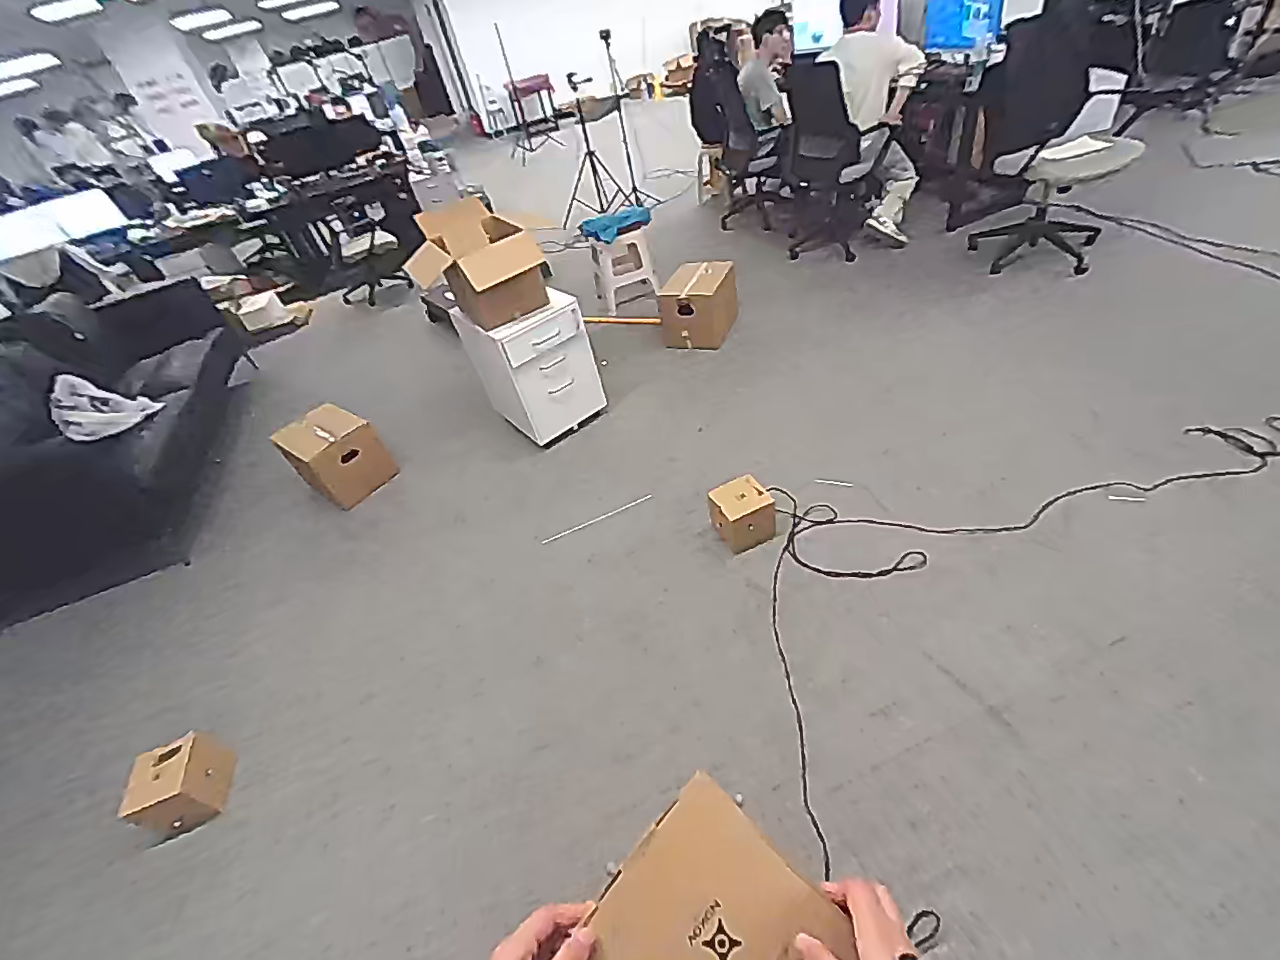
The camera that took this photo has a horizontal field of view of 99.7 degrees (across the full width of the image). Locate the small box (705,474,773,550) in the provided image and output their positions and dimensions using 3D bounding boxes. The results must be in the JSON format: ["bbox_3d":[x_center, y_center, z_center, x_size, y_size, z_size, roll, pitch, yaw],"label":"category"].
[{"bbox_3d":[0.353,0.115,1.895,0.179,0.176,0.168,-25,43,-9],"label":"small box"}]

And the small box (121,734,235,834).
[{"bbox_3d":[-1.327,0.885,1.572,0.168,0.176,0.179,-22,42,-7],"label":"small box"}]

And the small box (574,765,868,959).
[{"bbox_3d":[0.068,0.400,0.496,0.179,0.176,0.168,37,69,24],"label":"small box"}]
